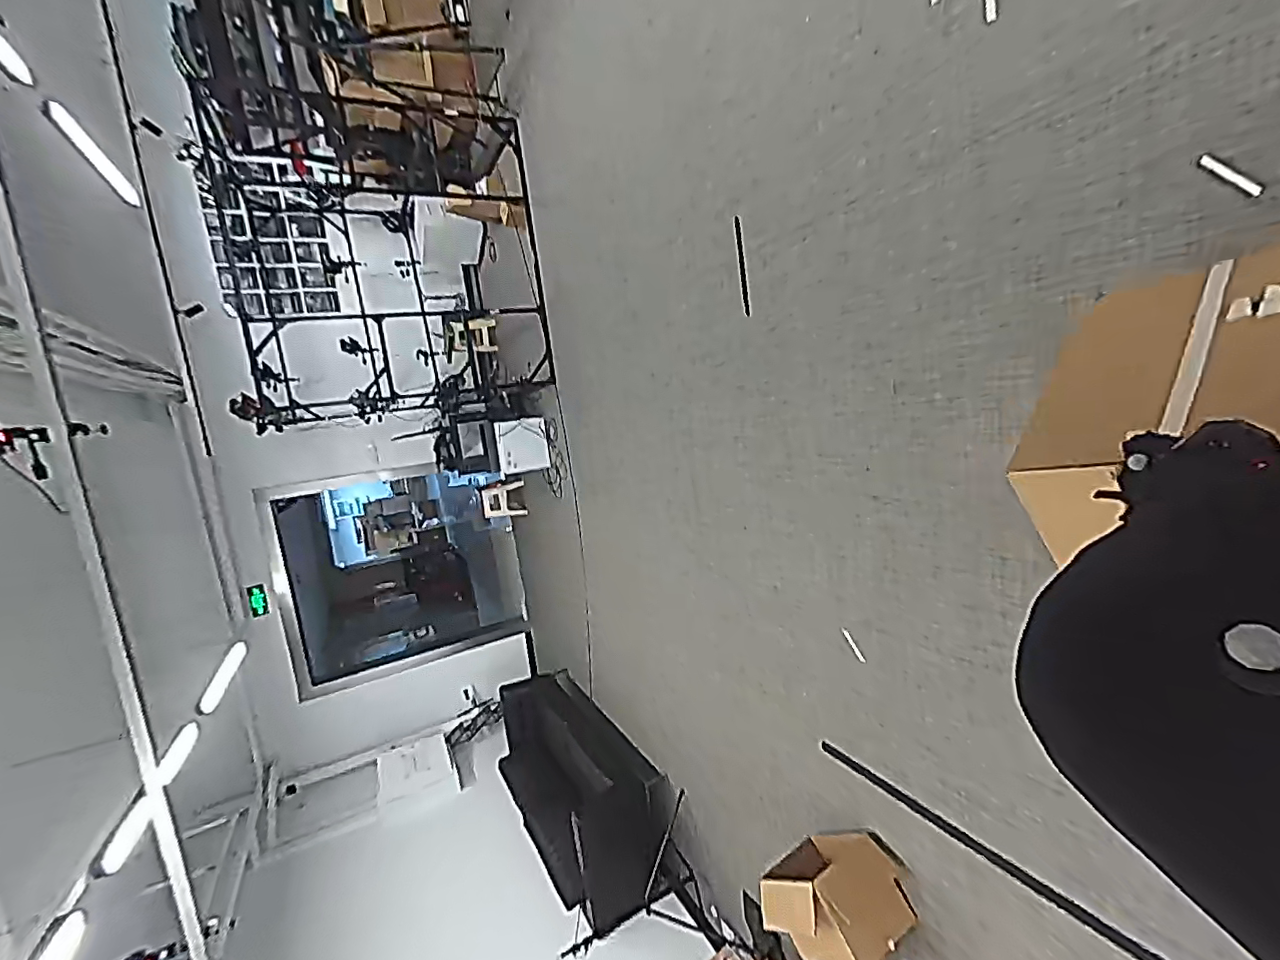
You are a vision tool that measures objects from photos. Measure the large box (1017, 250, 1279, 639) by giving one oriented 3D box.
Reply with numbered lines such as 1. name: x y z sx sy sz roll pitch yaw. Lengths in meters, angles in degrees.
1. large box: 0.780 -0.048 0.703 0.320 0.408 0.320 51 155 -18
